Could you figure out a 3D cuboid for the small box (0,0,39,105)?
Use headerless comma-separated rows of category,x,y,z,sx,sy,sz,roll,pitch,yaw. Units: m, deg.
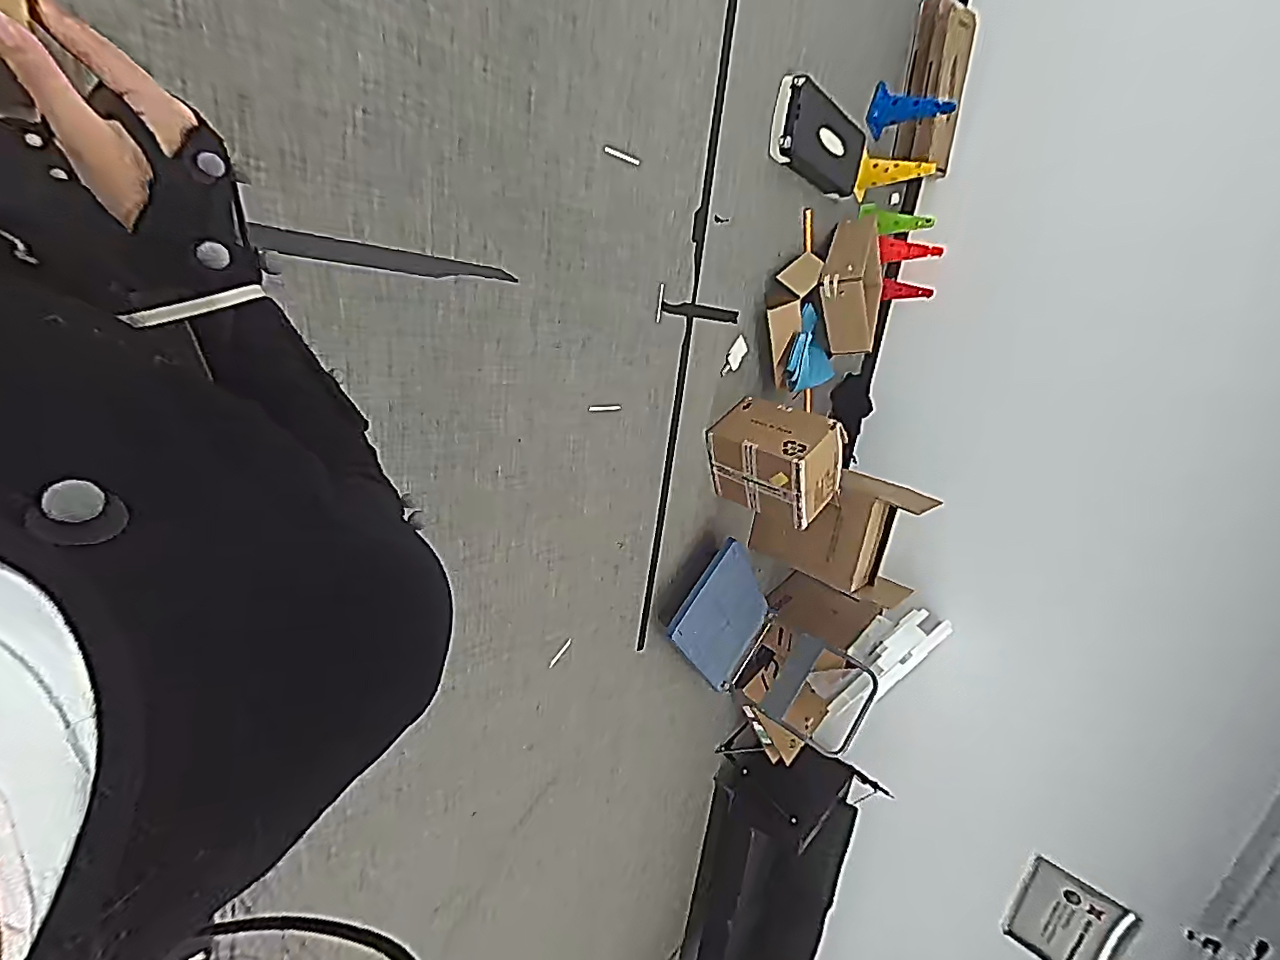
small box,-0.412,-0.313,0.247,0.168,0.176,0.179,-9,111,-46
